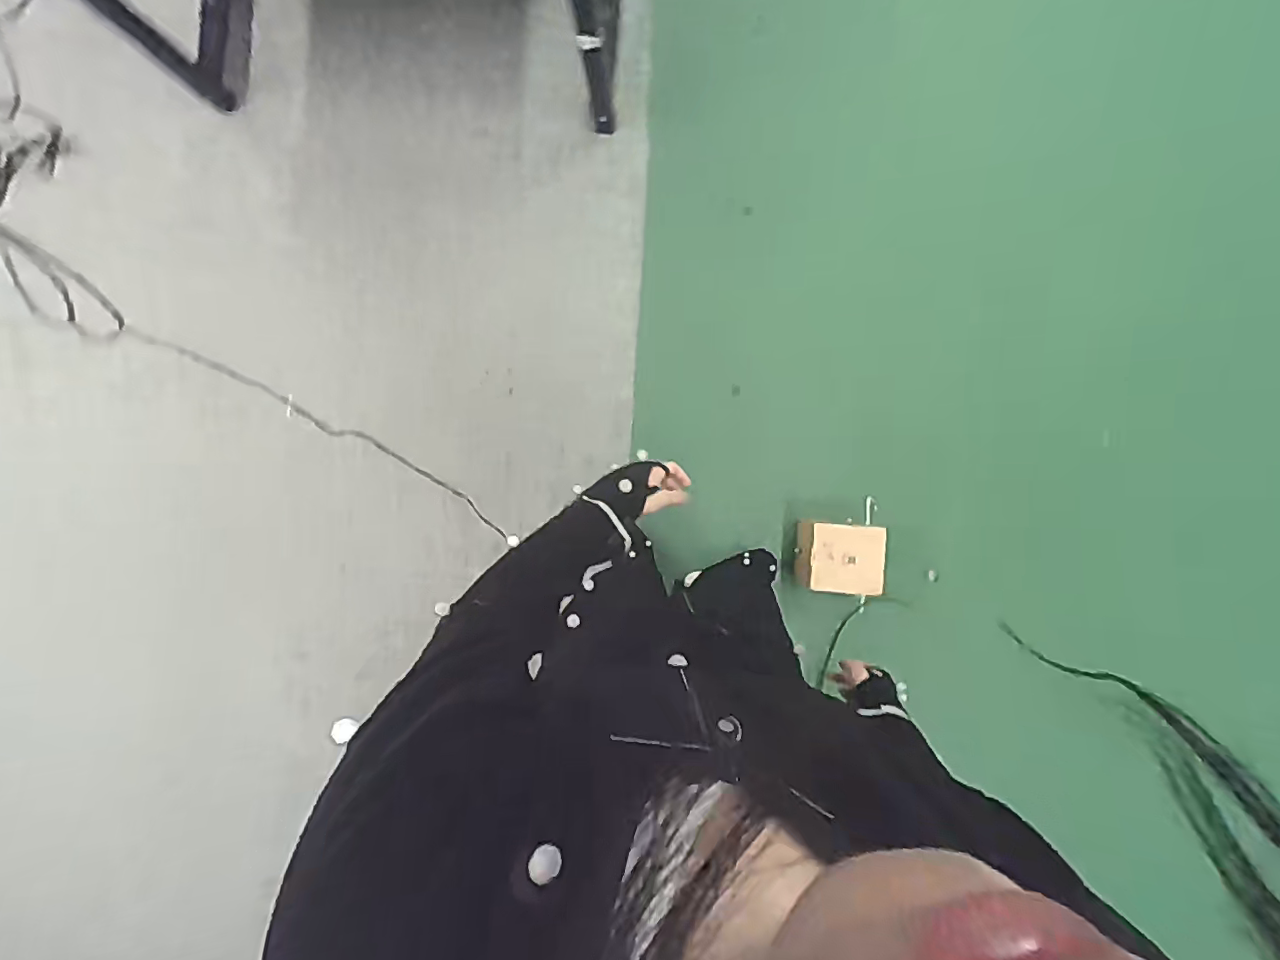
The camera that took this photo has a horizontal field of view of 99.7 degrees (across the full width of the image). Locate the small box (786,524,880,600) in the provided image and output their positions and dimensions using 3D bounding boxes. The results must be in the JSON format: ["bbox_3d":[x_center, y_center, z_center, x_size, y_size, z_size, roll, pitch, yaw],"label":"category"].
[{"bbox_3d":[0.487,0.202,1.379,0.179,0.176,0.168,4,89,2],"label":"small box"}]
